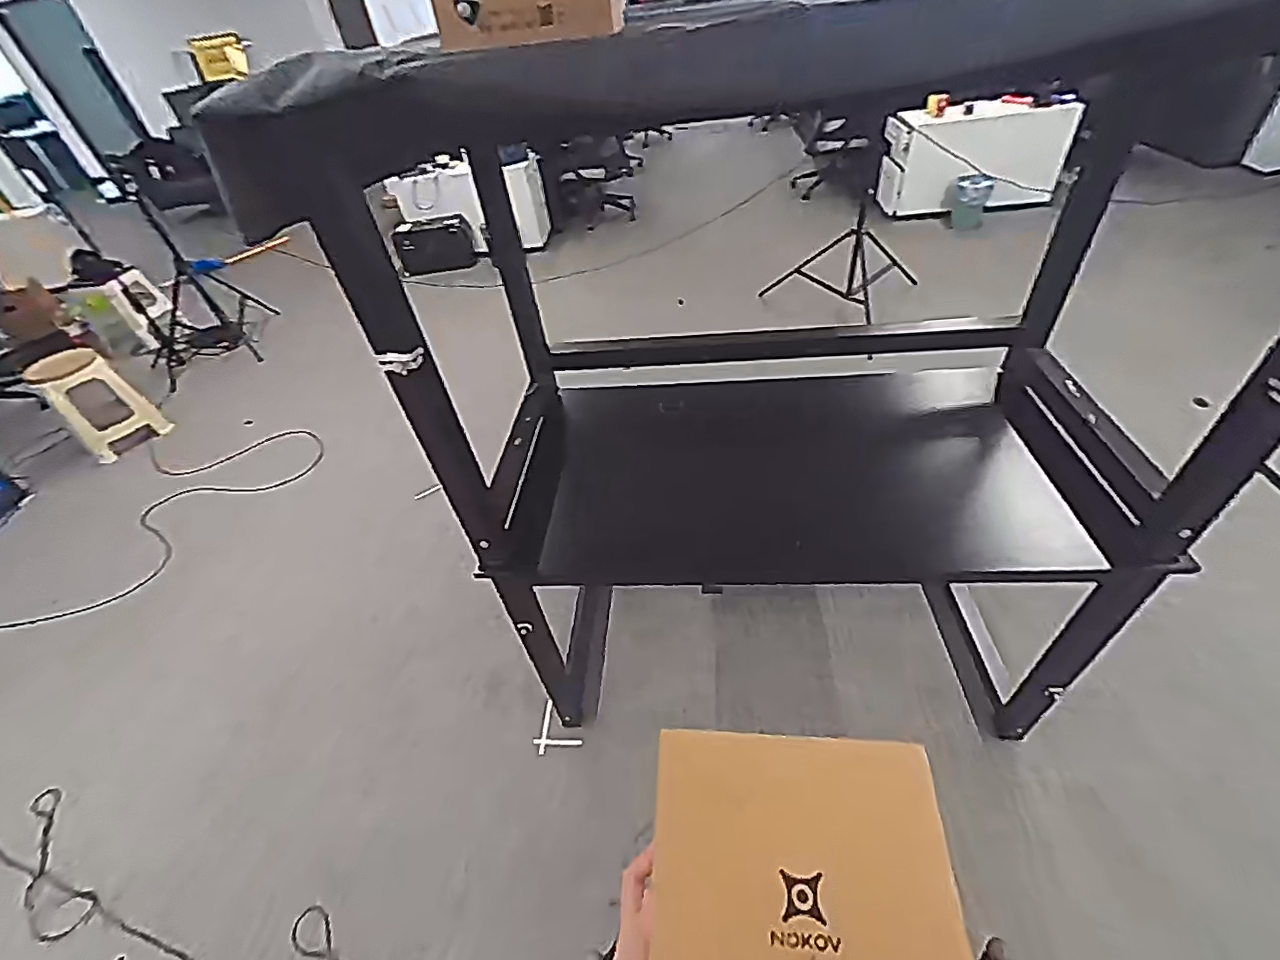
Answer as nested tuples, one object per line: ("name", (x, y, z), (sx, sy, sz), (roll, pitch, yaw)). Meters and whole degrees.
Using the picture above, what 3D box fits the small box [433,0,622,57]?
("small box", (-0.109, -0.518, 0.515), (0.168, 0.176, 0.179), (-3, 41, 4))

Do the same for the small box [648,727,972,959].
("small box", (0.094, 0.281, 0.351), (0.168, 0.176, 0.179), (0, 50, 7))
